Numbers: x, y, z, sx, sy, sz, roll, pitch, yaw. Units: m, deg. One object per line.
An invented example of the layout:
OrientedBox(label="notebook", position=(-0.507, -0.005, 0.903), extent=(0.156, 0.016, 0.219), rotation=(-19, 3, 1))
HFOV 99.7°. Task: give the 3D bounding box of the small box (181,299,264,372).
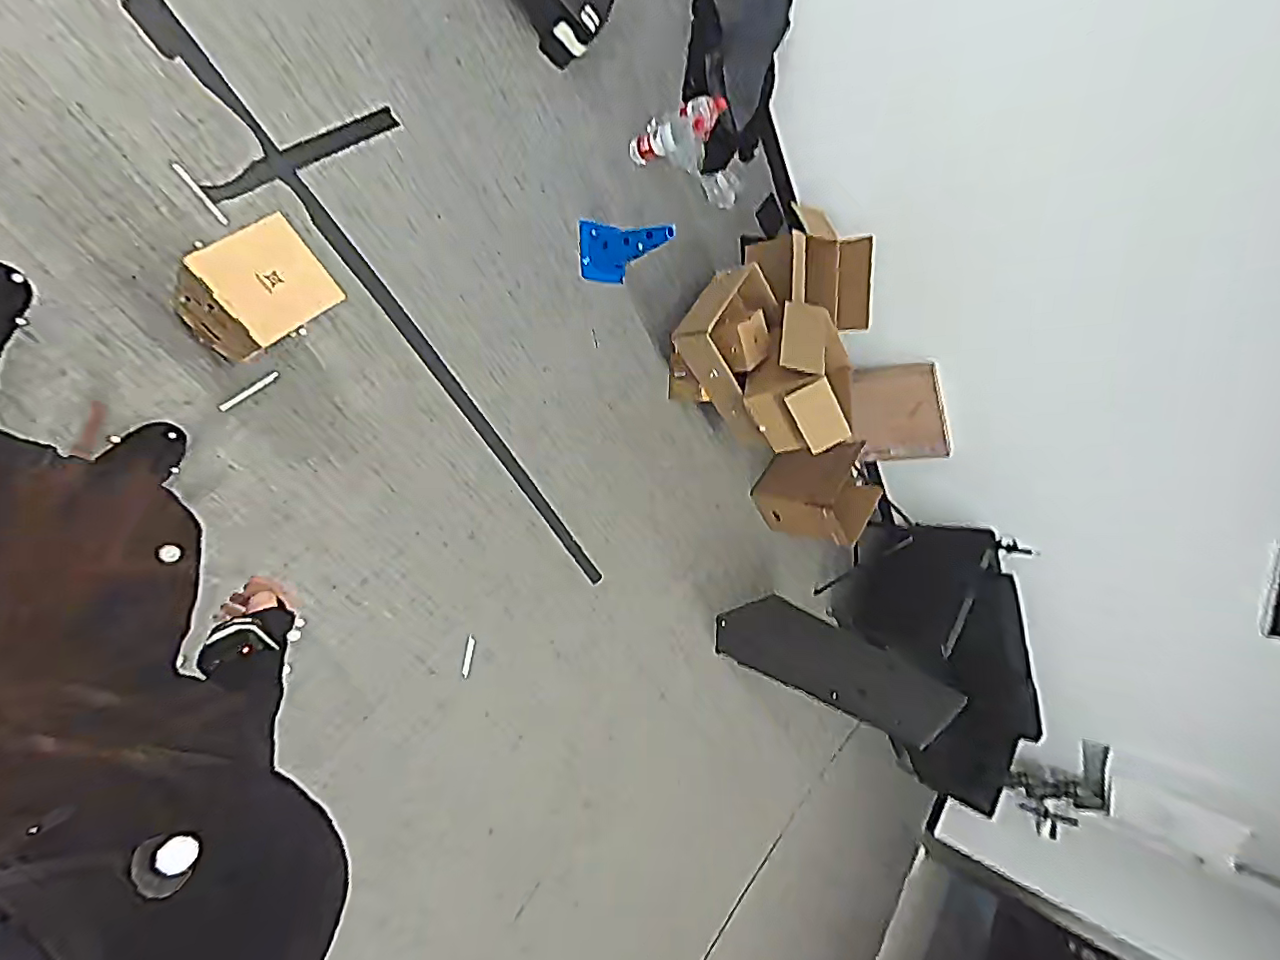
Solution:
OrientedBox(label="small box", position=(-0.912, -0.367, 1.244), extent=(0.179, 0.176, 0.168), rotation=(-50, 125, -24))

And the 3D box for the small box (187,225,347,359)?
OrientedBox(label="small box", position=(-0.694, -0.340, 1.001), extent=(0.179, 0.176, 0.168), rotation=(-48, 125, -26))
